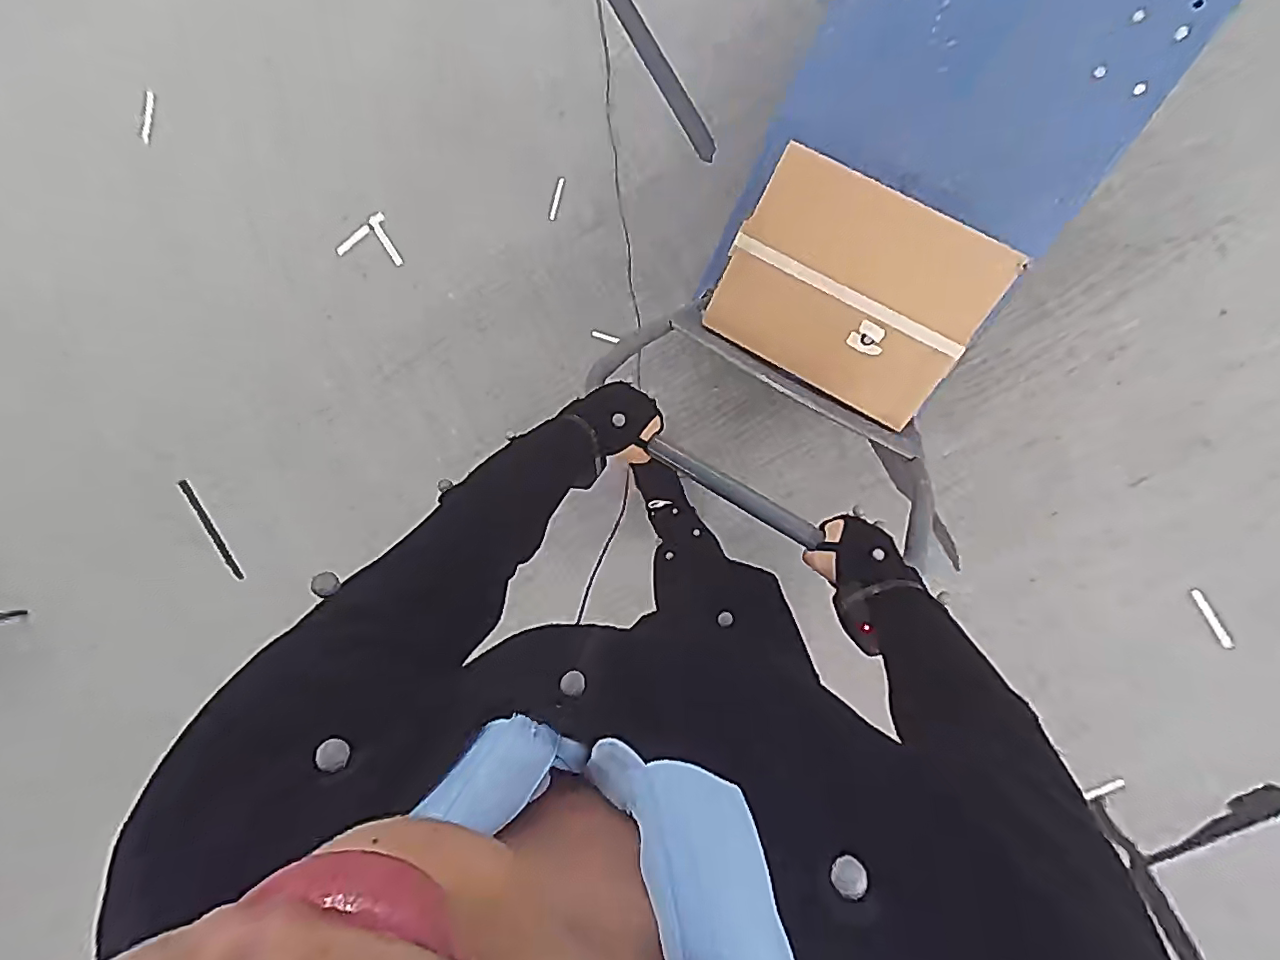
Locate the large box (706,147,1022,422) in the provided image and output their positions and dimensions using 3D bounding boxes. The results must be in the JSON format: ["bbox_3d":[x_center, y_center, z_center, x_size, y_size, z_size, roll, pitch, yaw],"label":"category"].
[{"bbox_3d":[0.395,-0.369,1.039,0.408,0.320,0.320,31,119,6],"label":"large box"}]
